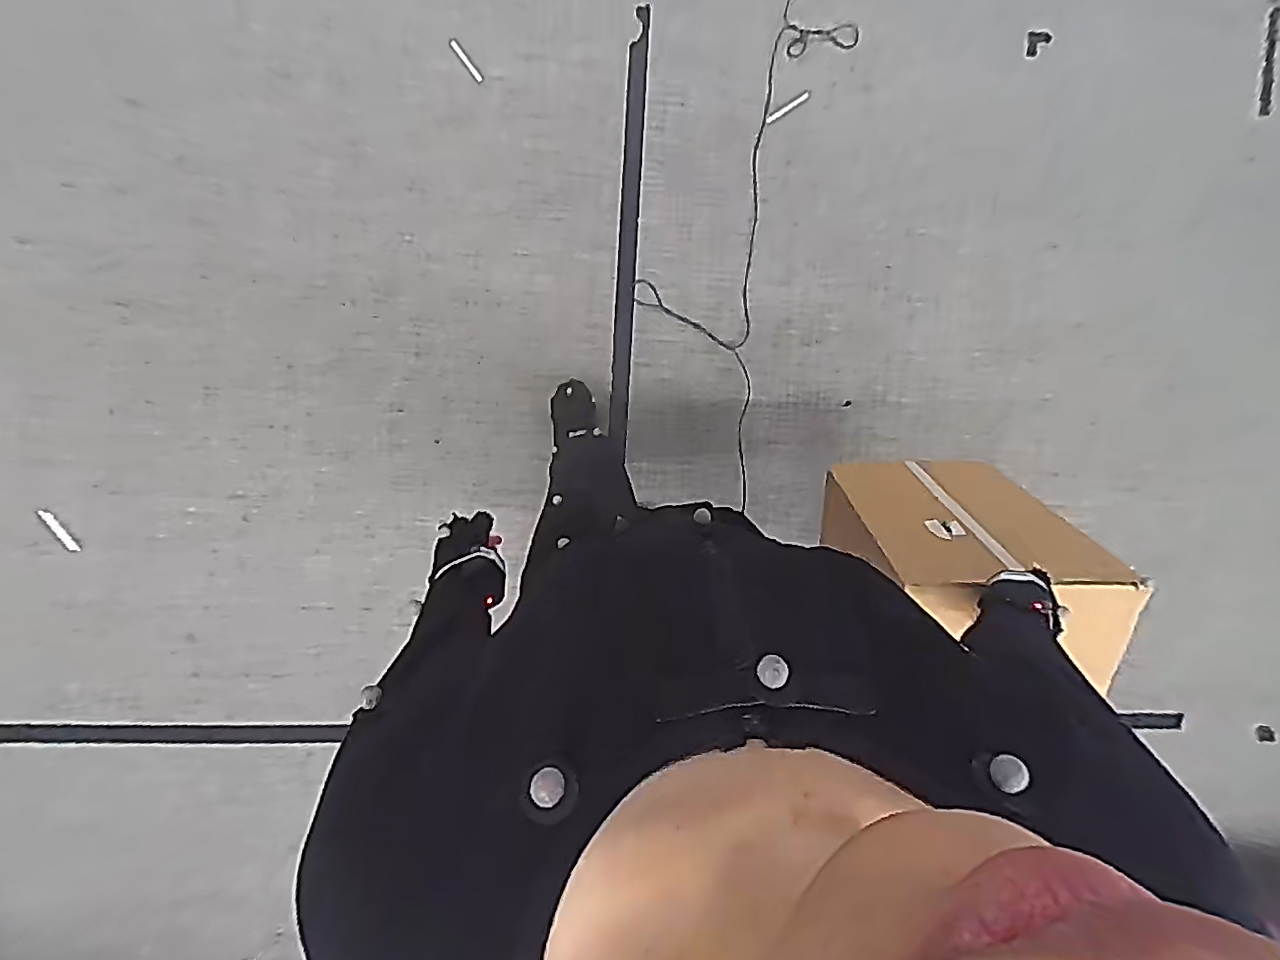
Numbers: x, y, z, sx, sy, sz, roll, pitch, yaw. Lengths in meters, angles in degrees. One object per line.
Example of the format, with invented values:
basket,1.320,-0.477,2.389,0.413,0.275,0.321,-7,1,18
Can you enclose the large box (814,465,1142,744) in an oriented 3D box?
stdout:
large box,0.528,0.194,0.967,0.320,0.408,0.320,-1,116,3
